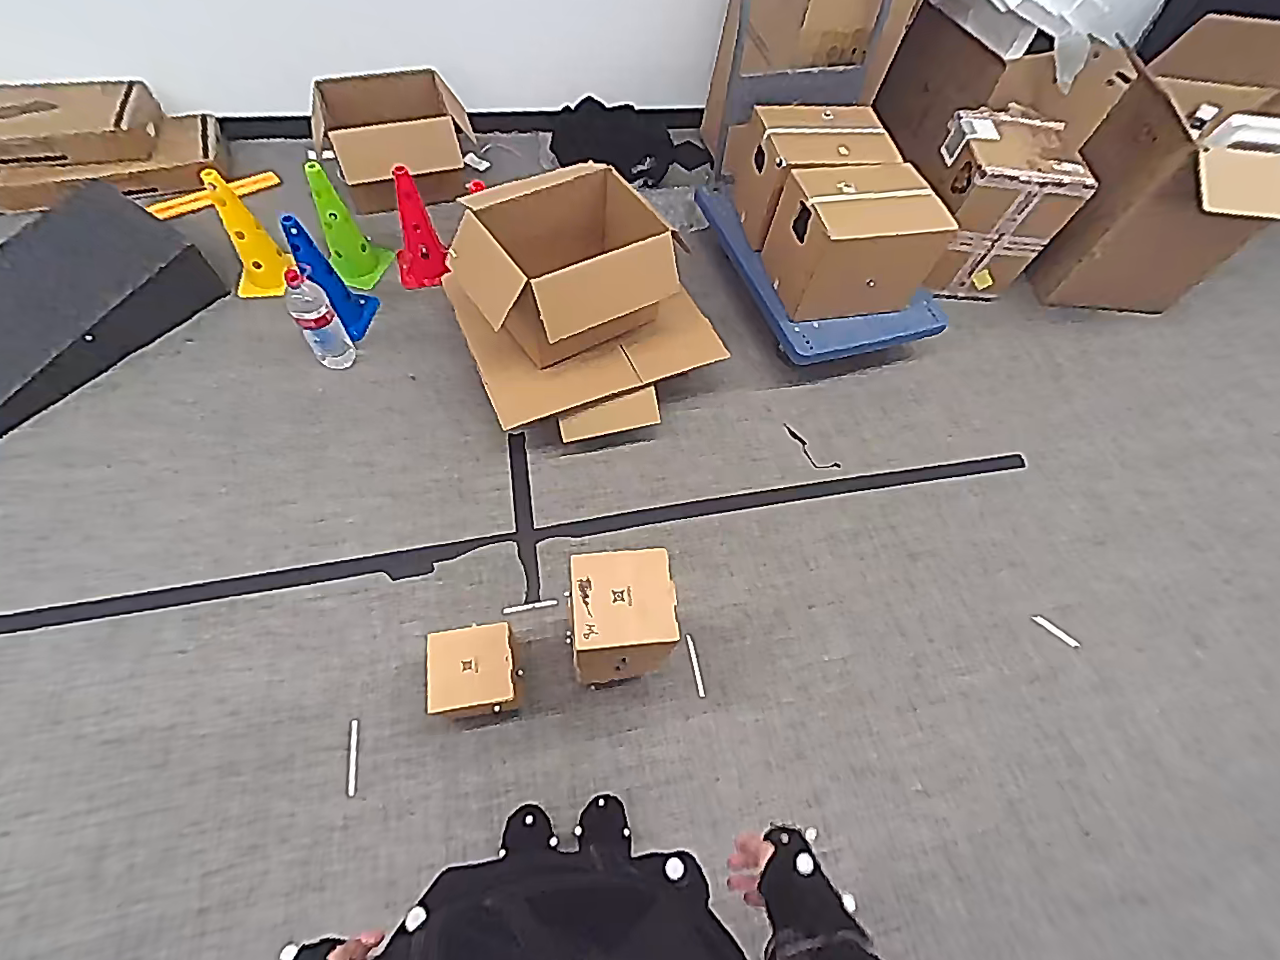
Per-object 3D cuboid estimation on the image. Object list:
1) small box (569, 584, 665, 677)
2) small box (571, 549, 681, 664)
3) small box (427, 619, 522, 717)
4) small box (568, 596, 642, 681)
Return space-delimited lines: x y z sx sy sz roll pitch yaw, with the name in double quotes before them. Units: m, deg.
"small box" -0.052 0.307 1.131 0.179 0.176 0.168 -5 63 -10
"small box" -0.034 0.233 0.985 0.179 0.176 0.168 -2 62 -9
"small box" -0.368 0.428 1.219 0.179 0.176 0.168 -7 63 -10
"small box" -0.077 0.369 1.282 0.168 0.176 0.179 -8 62 -11
